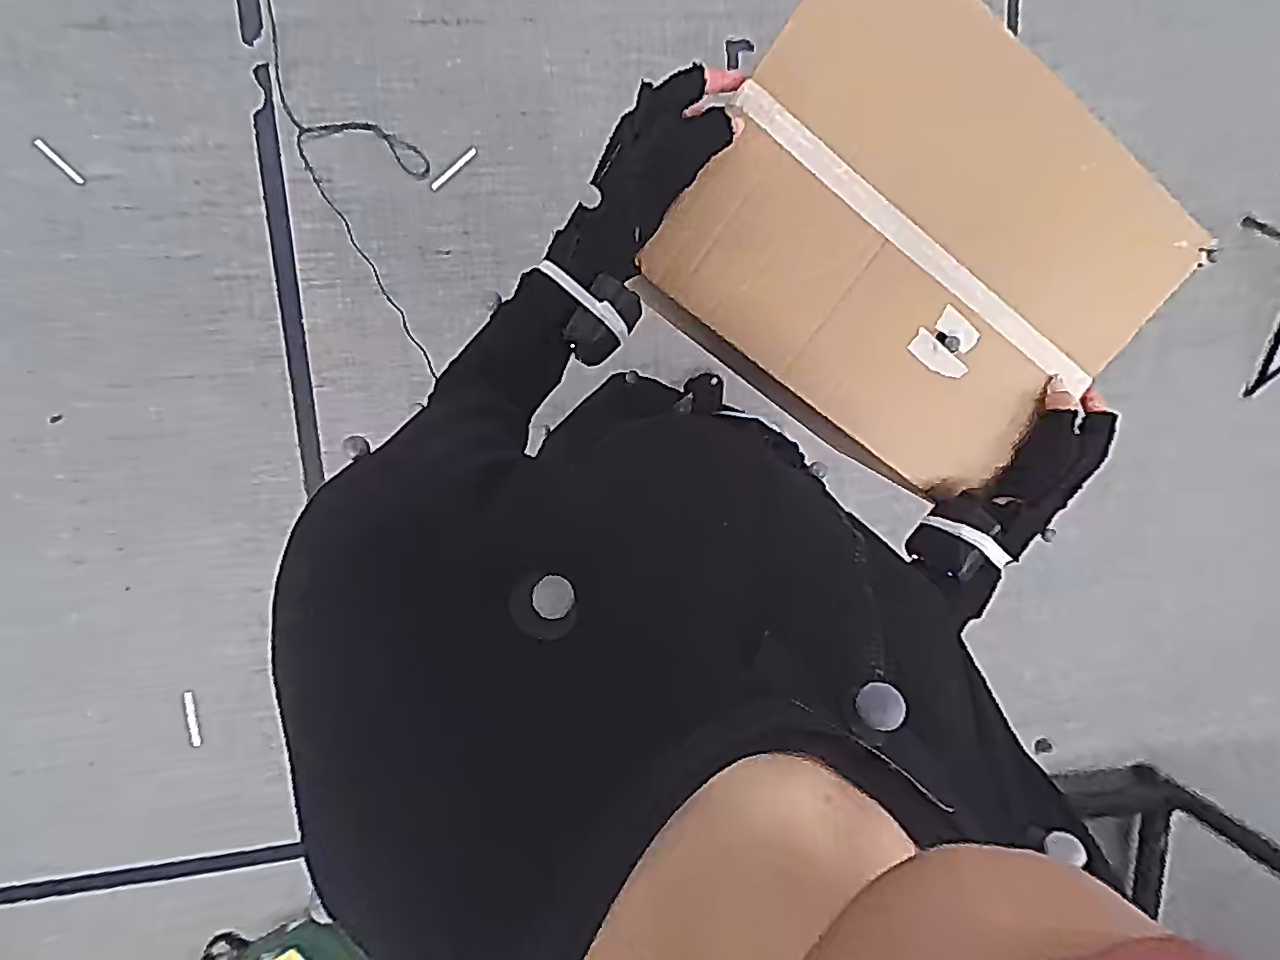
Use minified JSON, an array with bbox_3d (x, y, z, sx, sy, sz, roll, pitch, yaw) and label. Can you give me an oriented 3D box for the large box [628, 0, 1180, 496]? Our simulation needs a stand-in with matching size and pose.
[{"bbox_3d":[0.234,-0.248,0.623,0.408,0.320,0.320,34,103,-12],"label":"large box"}]
